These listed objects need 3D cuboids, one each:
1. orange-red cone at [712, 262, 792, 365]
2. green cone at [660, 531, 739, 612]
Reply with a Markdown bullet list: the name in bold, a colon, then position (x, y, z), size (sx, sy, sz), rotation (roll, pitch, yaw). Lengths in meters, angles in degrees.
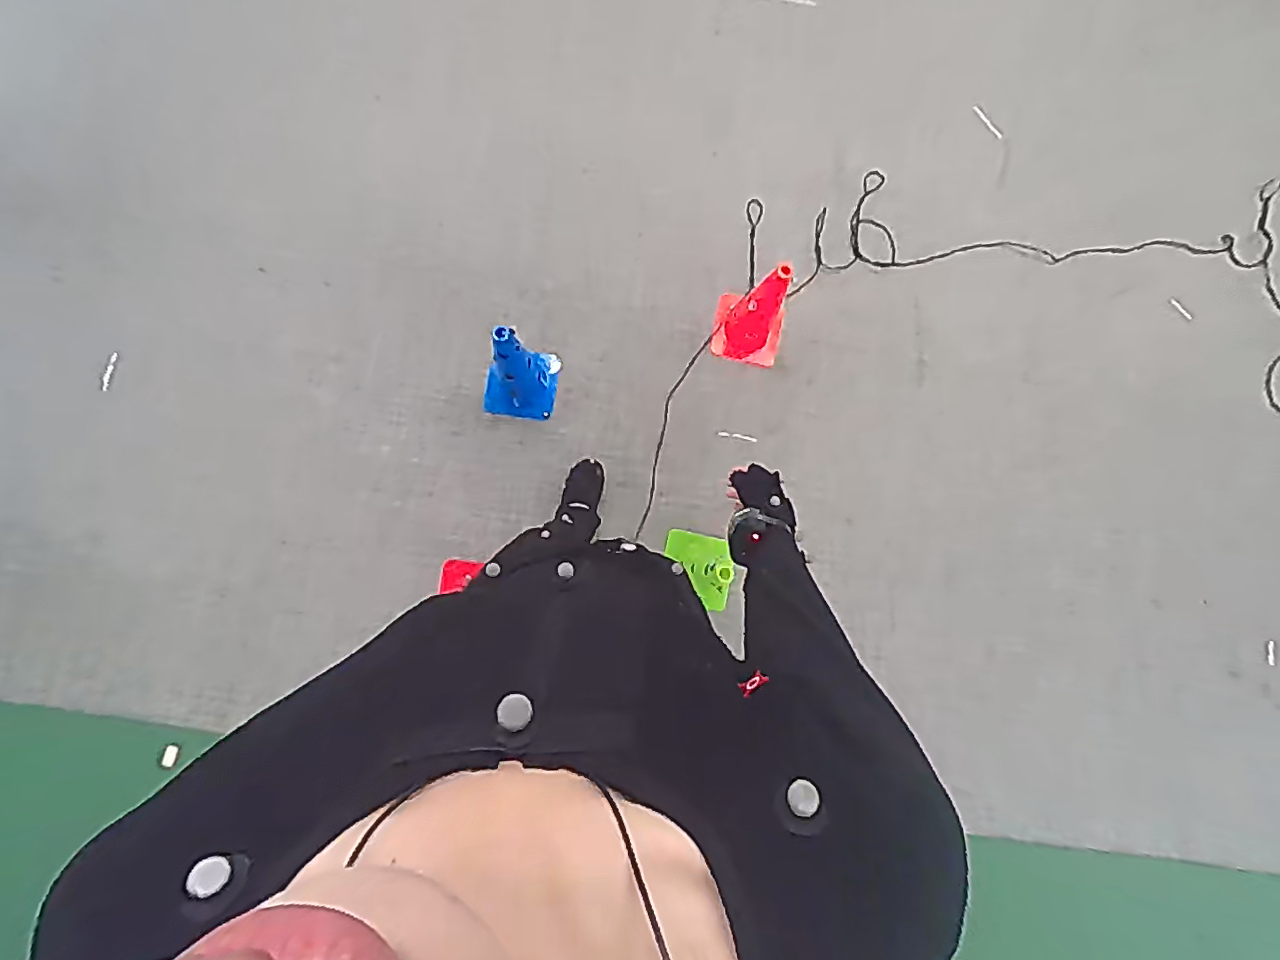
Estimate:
- **orange-red cone**: position (0.337, -0.477, 1.457), size (0.198, 0.360, 0.199), rotation (14, 83, -1)
- **green cone**: position (0.182, 0.229, 1.341), size (0.200, 0.368, 0.202), rotation (12, 80, -3)
